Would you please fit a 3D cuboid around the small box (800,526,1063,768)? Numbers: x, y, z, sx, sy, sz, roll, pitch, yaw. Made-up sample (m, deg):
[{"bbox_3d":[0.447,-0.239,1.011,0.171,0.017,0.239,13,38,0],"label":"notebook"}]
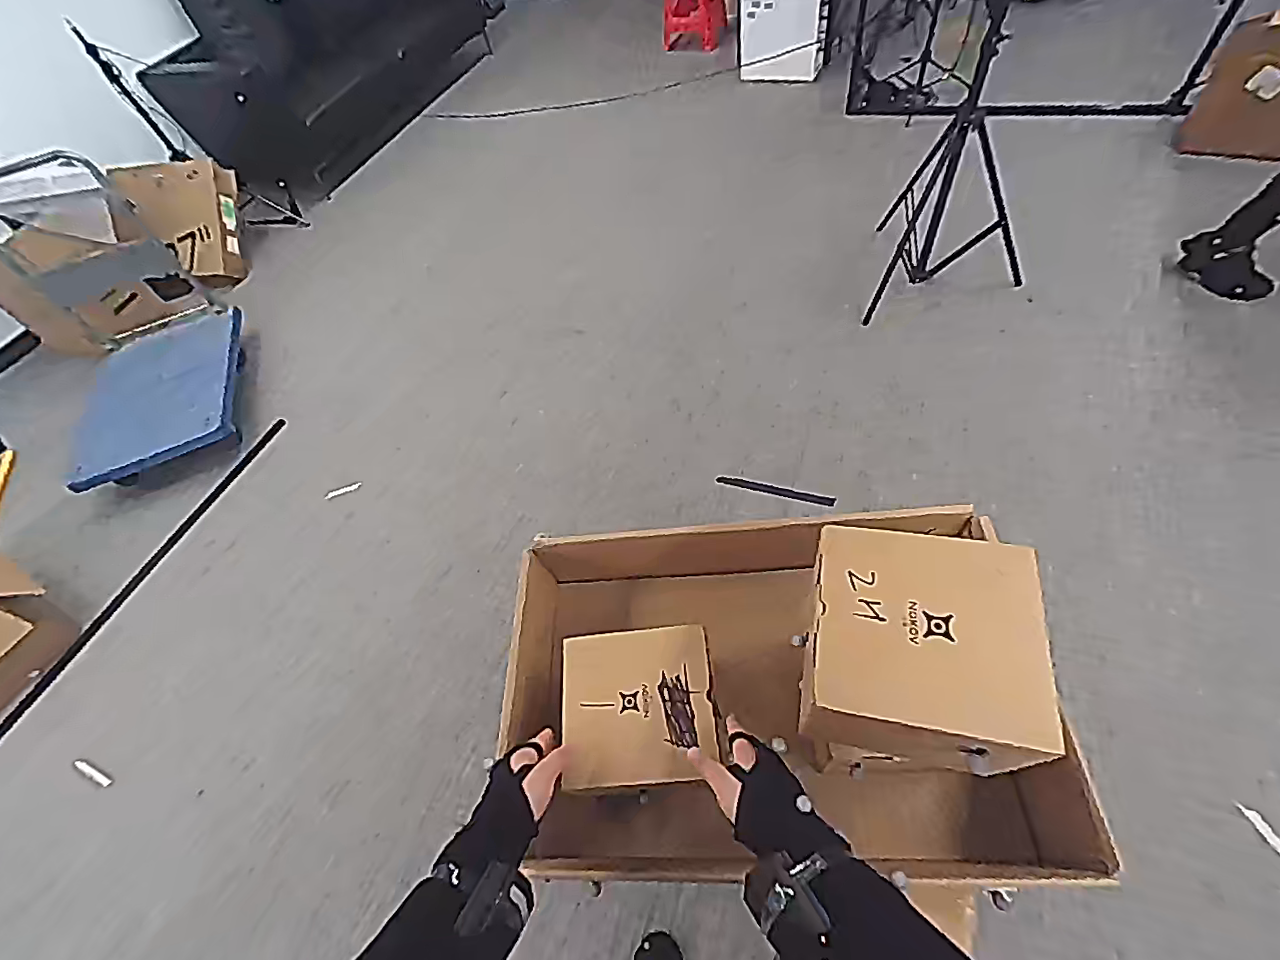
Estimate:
[{"bbox_3d":[0.253,0.162,0.513,0.179,0.176,0.168,5,58,17],"label":"small box"}]
